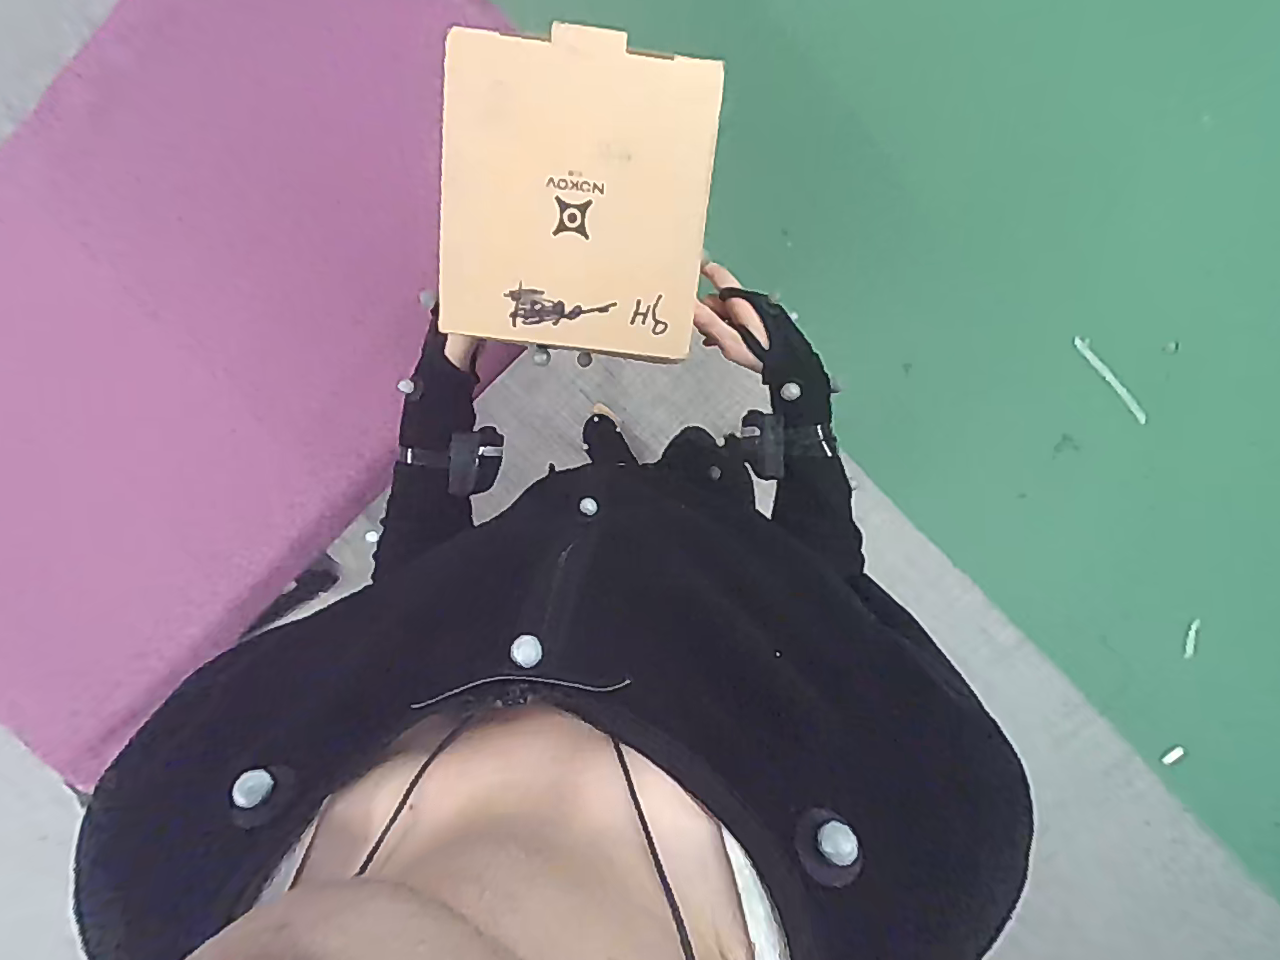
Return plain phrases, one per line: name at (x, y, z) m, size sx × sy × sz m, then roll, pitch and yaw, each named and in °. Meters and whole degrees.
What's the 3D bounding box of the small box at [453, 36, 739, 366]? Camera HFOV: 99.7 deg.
small box at (-0.030, -0.187, 0.419) m, size 0.168 × 0.176 × 0.179 m, roll 8°, pitch 102°, yaw 0°
